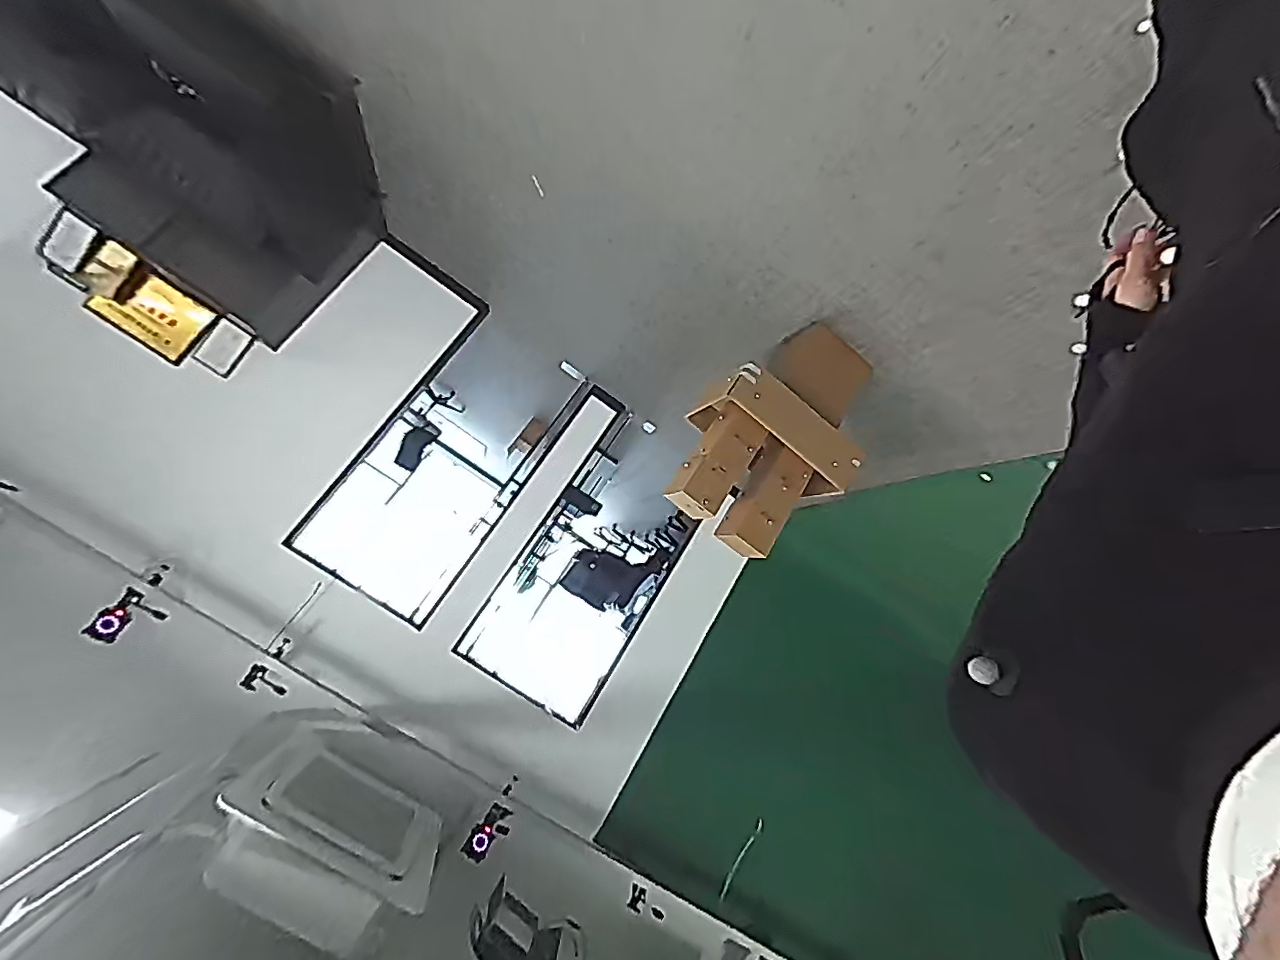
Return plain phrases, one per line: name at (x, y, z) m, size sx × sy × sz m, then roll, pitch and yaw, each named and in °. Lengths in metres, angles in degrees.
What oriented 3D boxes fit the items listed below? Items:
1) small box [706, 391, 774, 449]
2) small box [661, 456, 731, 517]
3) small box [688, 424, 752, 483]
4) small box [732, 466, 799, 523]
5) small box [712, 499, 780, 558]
small box at (0.402, -0.230, 2.162) m, size 0.168 × 0.176 × 0.179 m, roll 38°, pitch 162°, yaw -14°
small box at (0.217, 0.026, 2.070) m, size 0.168 × 0.176 × 0.179 m, roll 38°, pitch 163°, yaw -14°
small box at (0.314, -0.099, 2.115) m, size 0.168 × 0.176 × 0.179 m, roll 38°, pitch 163°, yaw -14°
small box at (0.510, 0.062, 2.192) m, size 0.168 × 0.176 × 0.179 m, roll 37°, pitch 163°, yaw -12°
small box at (0.423, 0.191, 2.145) m, size 0.168 × 0.176 × 0.179 m, roll 37°, pitch 163°, yaw -14°
